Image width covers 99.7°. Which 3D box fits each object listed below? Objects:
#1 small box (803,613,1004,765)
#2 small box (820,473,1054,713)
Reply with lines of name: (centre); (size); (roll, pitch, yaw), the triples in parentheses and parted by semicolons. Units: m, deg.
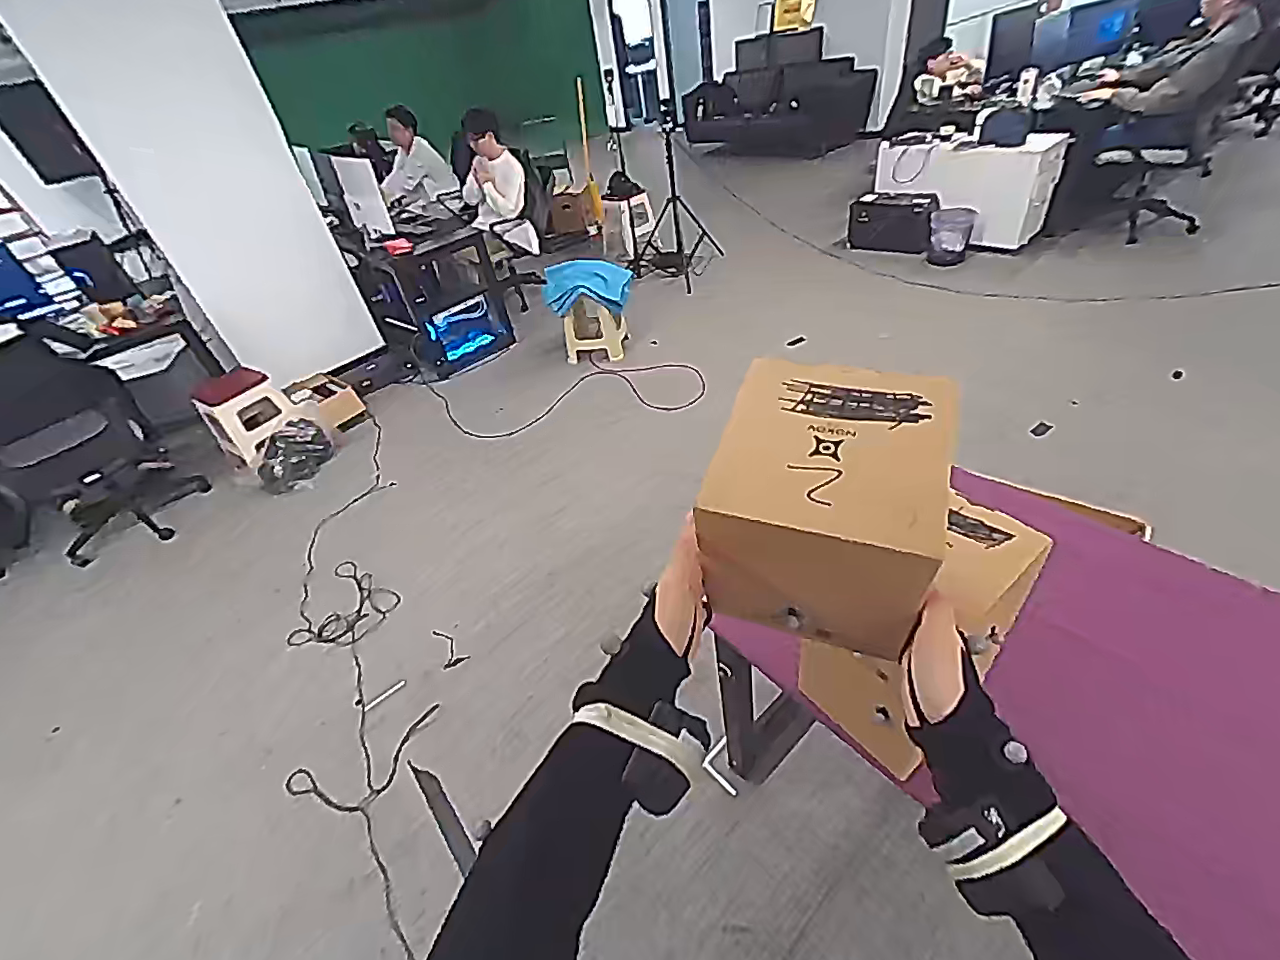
small box: (0.344, 0.254, 0.738); (0.168, 0.176, 0.179); (-31, 44, -22)
small box: (0.328, 0.128, 0.633); (0.179, 0.176, 0.168); (-33, 45, -22)
